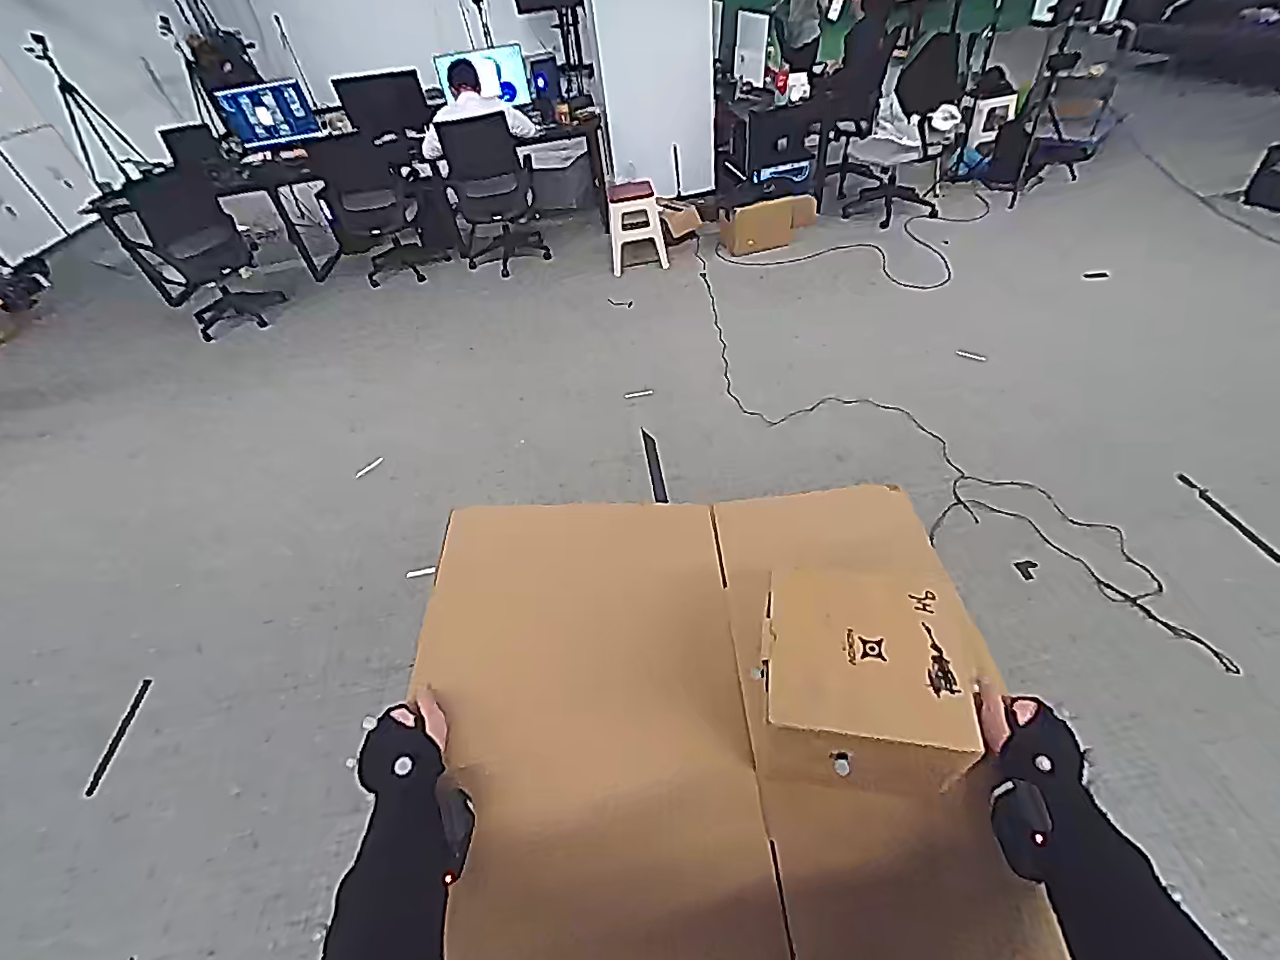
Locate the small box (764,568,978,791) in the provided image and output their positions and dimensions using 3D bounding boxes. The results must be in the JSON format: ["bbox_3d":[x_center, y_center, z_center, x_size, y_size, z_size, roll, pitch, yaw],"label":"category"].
[{"bbox_3d":[0.225,0.212,0.577,0.179,0.176,0.168,1,48,14],"label":"small box"}]
